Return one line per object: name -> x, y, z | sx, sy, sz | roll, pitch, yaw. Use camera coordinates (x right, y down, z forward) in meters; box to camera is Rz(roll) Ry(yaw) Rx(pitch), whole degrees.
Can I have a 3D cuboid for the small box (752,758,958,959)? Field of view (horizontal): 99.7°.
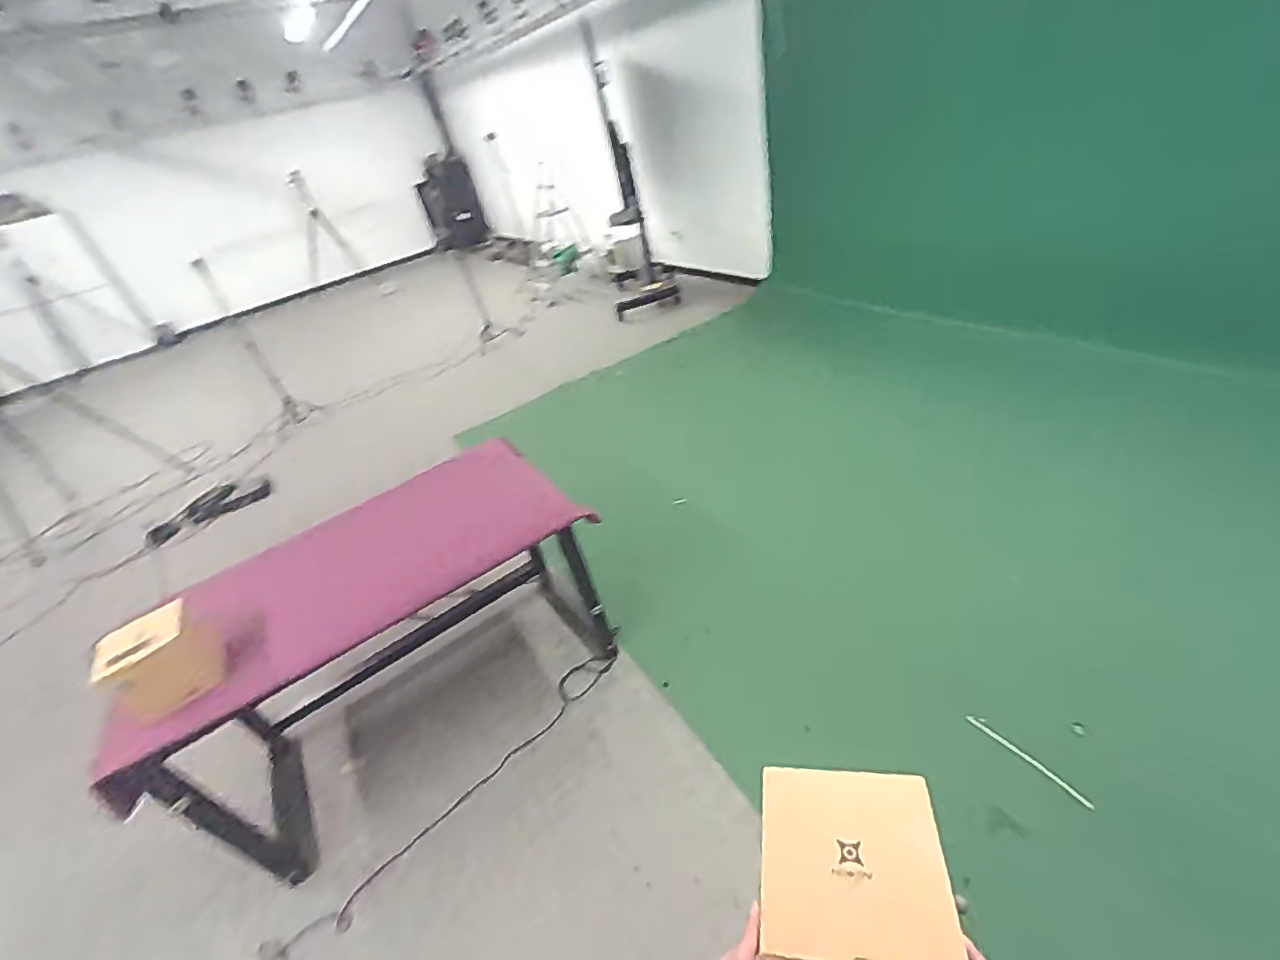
small box -> 0.207, 0.420, 0.551 | 0.168, 0.176, 0.179 | -5, 30, 16
